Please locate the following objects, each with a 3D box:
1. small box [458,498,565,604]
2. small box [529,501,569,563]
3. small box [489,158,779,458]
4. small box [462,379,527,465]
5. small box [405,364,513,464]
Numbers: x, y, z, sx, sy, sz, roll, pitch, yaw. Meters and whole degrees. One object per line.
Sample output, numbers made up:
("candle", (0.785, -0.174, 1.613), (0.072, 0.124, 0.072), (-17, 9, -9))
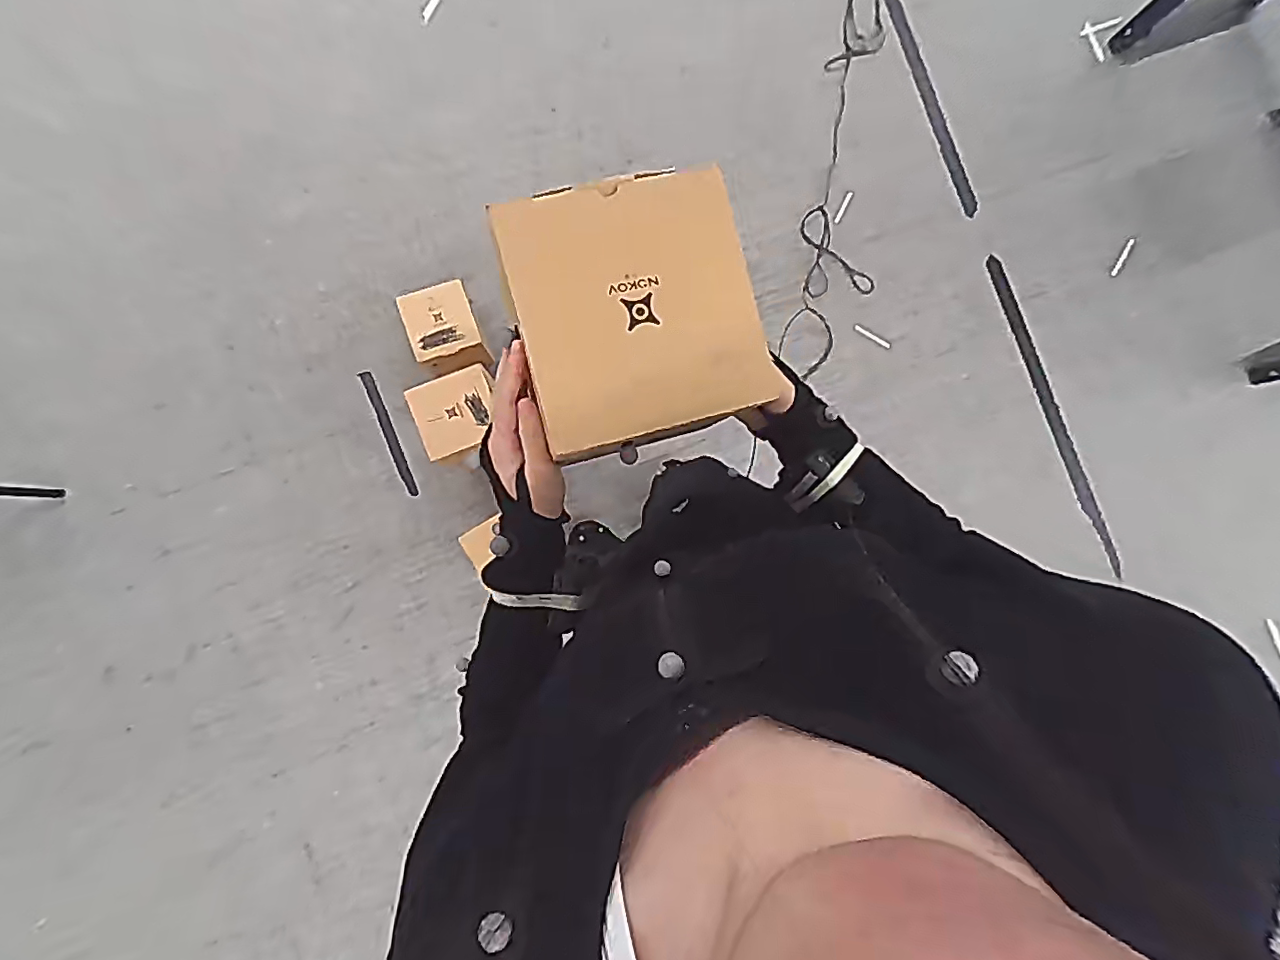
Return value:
("small box", (-0.282, 0.156, 1.236), (0.168, 0.176, 0.179), (-32, 89, -7))
("small box", (-0.295, 0.166, 1.398), (0.168, 0.176, 0.179), (-34, 91, -6))
("small box", (-0.013, -0.119, 0.444), (0.168, 0.176, 0.179), (-16, 91, -10))
("small box", (-0.408, -0.143, 1.403), (0.179, 0.176, 0.168), (-18, 90, -6))
("small box", (-0.401, -0.145, 1.238), (0.179, 0.176, 0.168), (-22, 89, -5))
